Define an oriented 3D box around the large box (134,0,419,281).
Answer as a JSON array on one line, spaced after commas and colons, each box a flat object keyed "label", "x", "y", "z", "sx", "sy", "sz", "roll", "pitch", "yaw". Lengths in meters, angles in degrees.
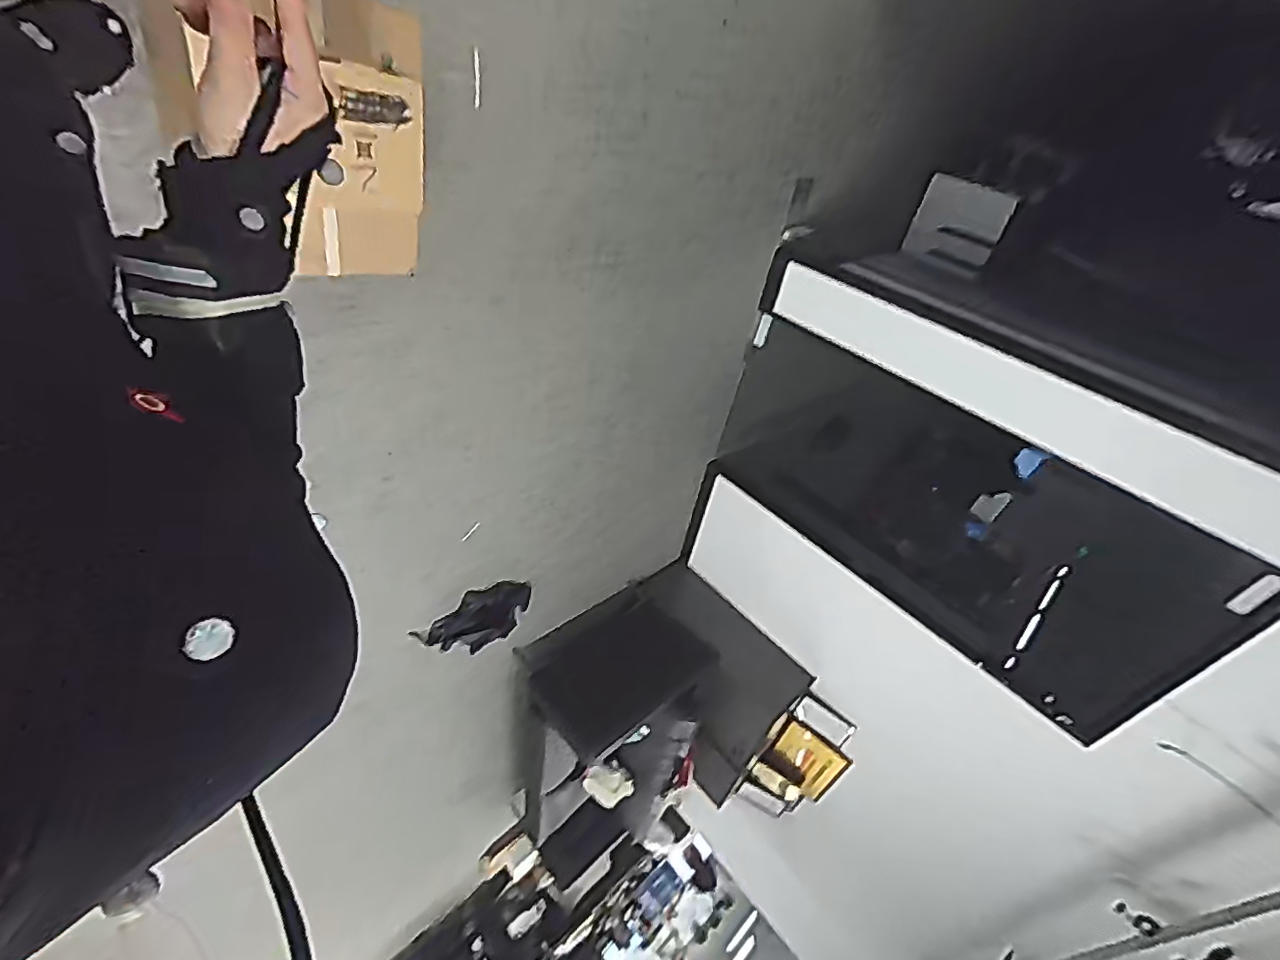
[{"label": "large box", "x": -0.604, "y": -0.603, "z": 0.934, "sx": 0.320, "sy": 0.320, "sz": 0.408, "roll": -19, "pitch": 139, "yaw": -41}]
